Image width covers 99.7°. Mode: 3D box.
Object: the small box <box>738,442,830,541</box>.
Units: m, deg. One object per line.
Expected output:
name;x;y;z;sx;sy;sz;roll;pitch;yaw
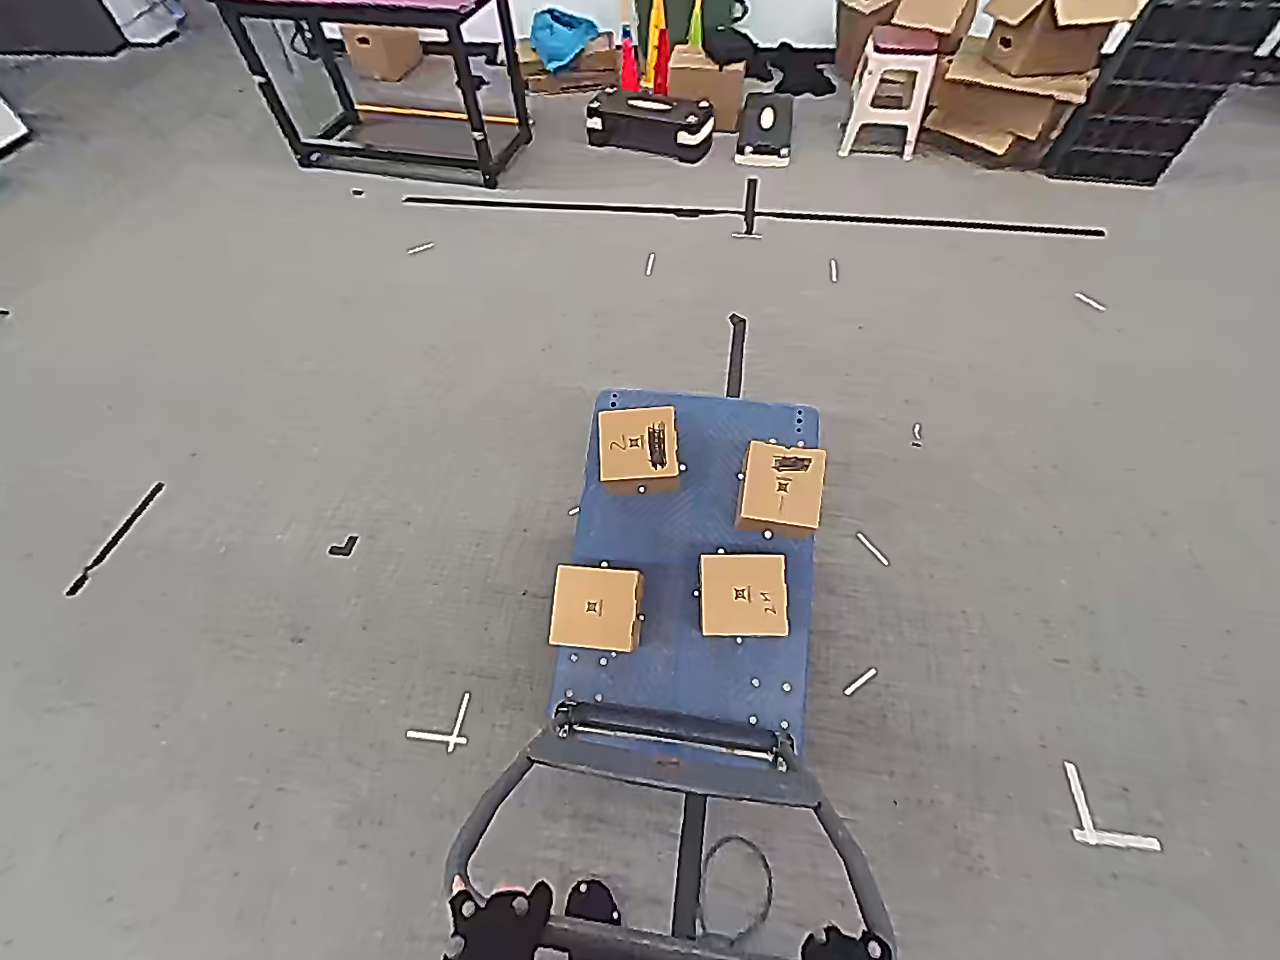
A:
small box;0.322;0.031;1.237;0.168;0.176;0.179;9;78;8

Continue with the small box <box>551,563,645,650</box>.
small box;-0.087;0.285;1.210;0.179;0.176;0.168;4;76;5

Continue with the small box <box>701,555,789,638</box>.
small box;0.223;0.258;1.188;0.179;0.176;0.168;0;76;5
